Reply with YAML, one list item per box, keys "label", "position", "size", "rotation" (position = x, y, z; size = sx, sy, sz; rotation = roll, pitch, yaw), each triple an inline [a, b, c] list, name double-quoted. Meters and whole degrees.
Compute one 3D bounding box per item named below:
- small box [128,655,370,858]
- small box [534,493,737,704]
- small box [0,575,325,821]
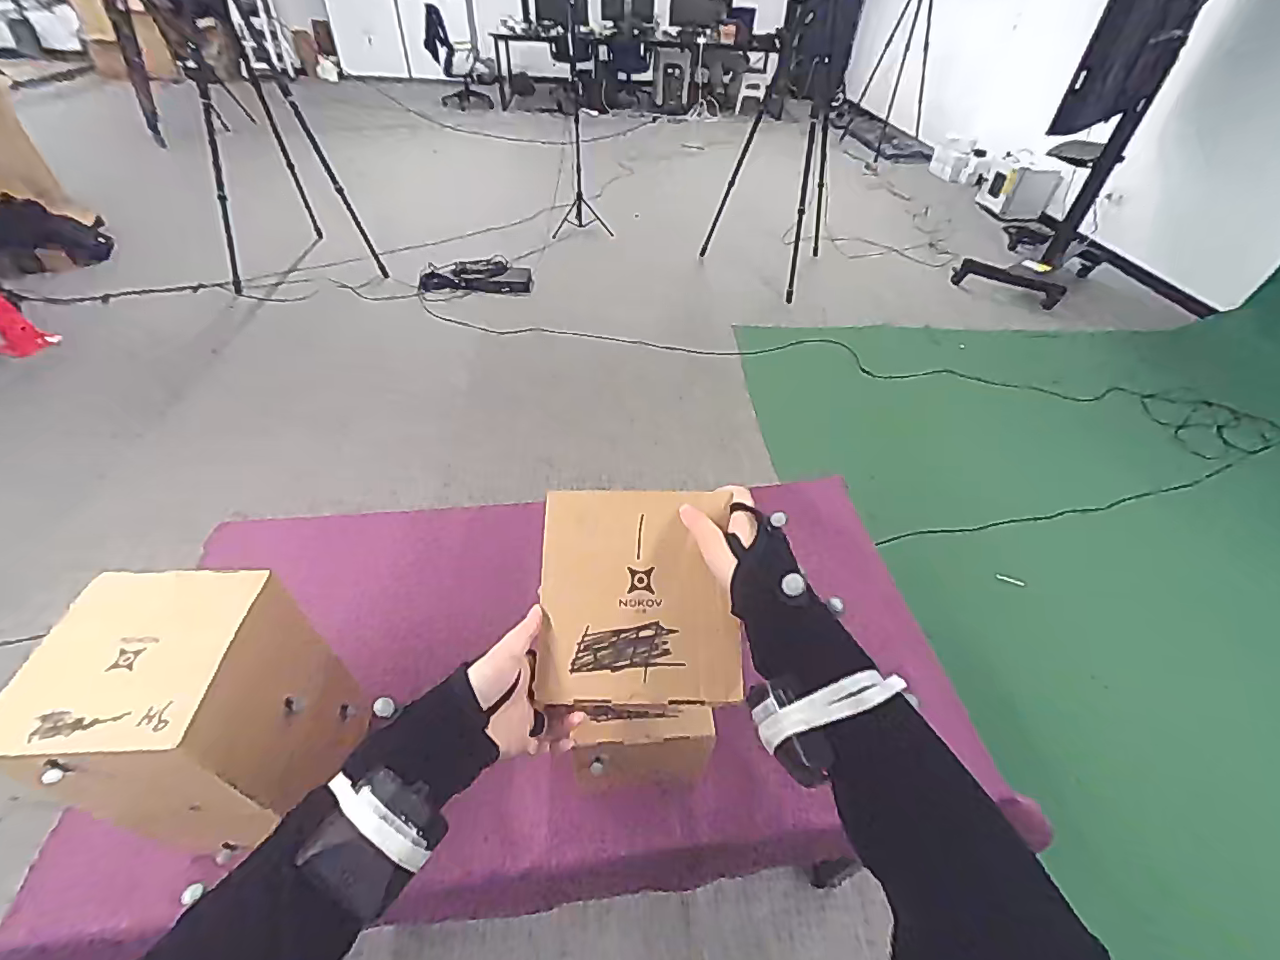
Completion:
- label: "small box"
  position: [-0.453, 0.333, 0.656]
  size: [0.168, 0.176, 0.179]
  rotation: [-1, 45, -3]
- label: "small box"
  position: [-0.003, 0.121, 0.530]
  size: [0.168, 0.176, 0.179]
  rotation: [-1, 69, 0]
- label: "small box"
  position: [-0.449, 0.215, 0.540]
  size: [0.168, 0.176, 0.179]
  rotation: [-1, 43, -2]
